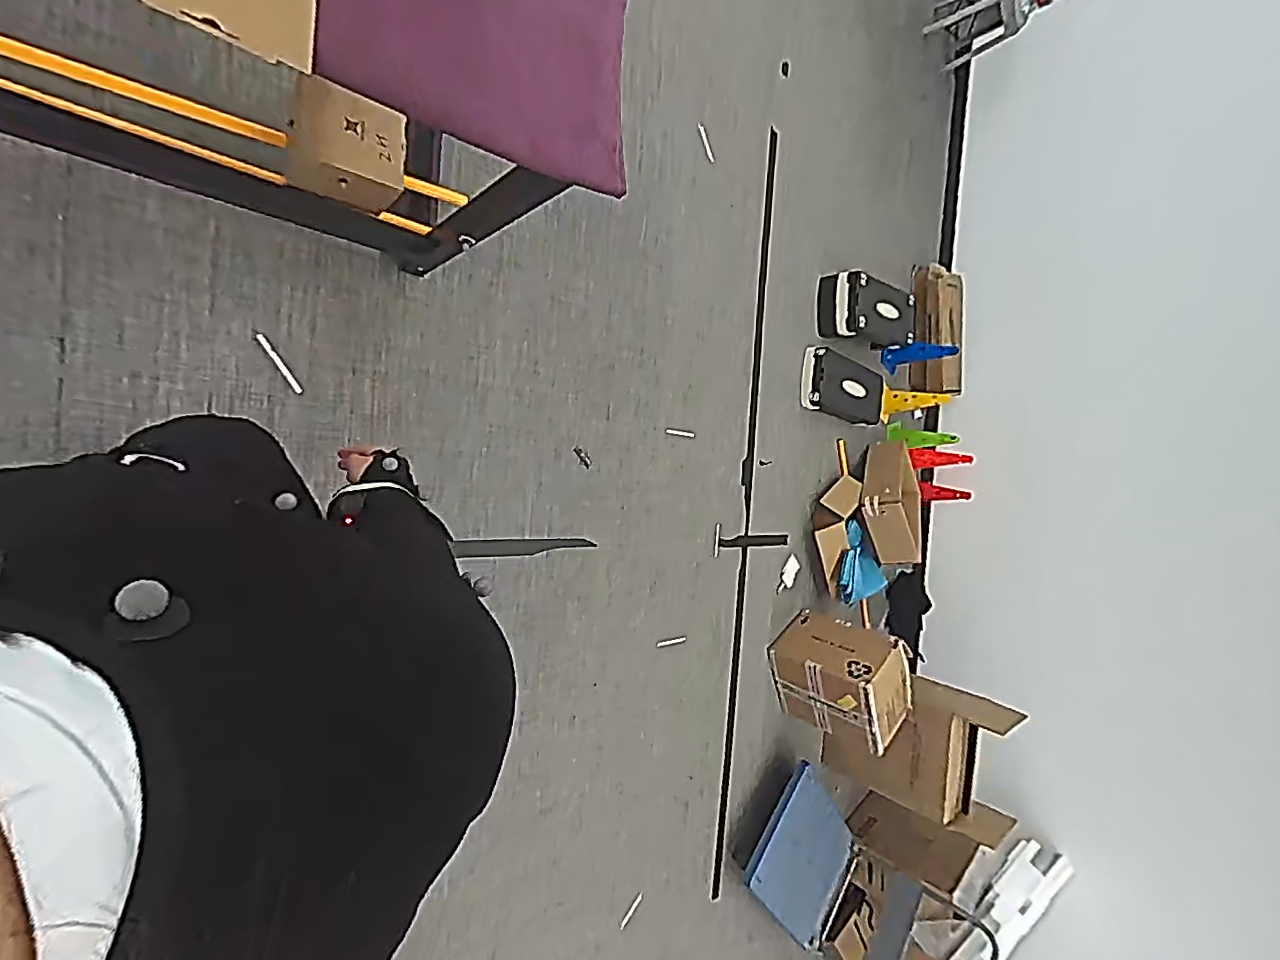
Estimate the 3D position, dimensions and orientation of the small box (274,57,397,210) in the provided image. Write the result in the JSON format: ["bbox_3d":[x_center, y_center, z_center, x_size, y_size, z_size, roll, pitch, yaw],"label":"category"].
[{"bbox_3d":[-0.591,-0.650,1.043,0.179,0.176,0.168,2,93,-43],"label":"small box"}]
